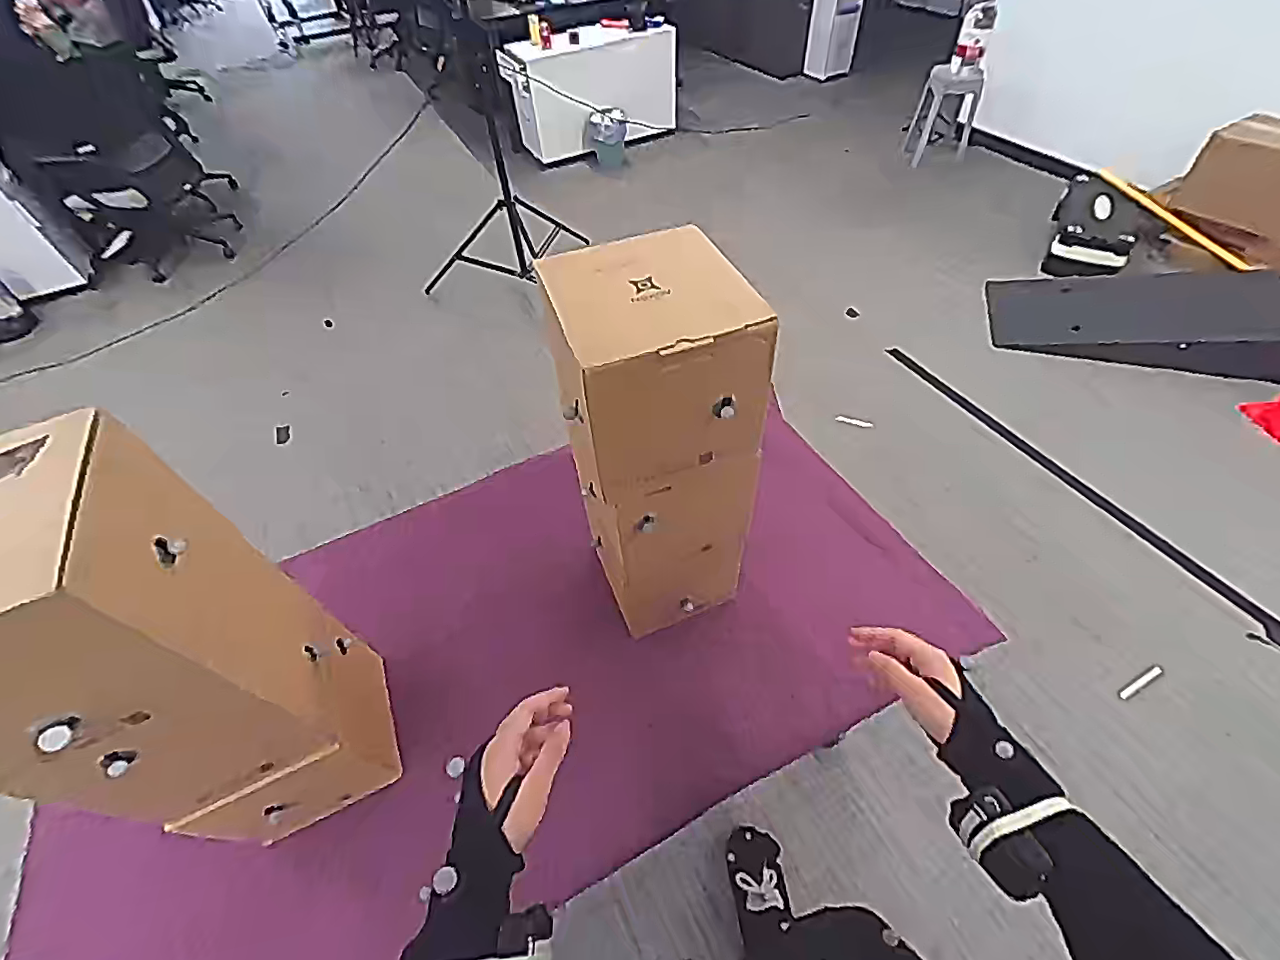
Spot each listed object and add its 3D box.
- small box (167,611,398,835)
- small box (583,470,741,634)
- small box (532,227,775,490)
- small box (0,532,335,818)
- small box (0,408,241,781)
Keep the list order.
[{"bbox_3d":[-0.412,0.295,0.646,0.168,0.176,0.179,-23,53,-14],"label":"small box"},{"bbox_3d":[0.028,0.090,0.780,0.168,0.176,0.179,-20,52,-11],"label":"small box"},{"bbox_3d":[0.009,-0.110,0.523,0.168,0.176,0.179,-17,51,-11],"label":"small box"},{"bbox_3d":[-0.424,0.188,0.523,0.168,0.176,0.179,-24,52,-14],"label":"small box"},{"bbox_3d":[-0.428,0.084,0.395,0.168,0.176,0.179,-23,53,-14],"label":"small box"}]
